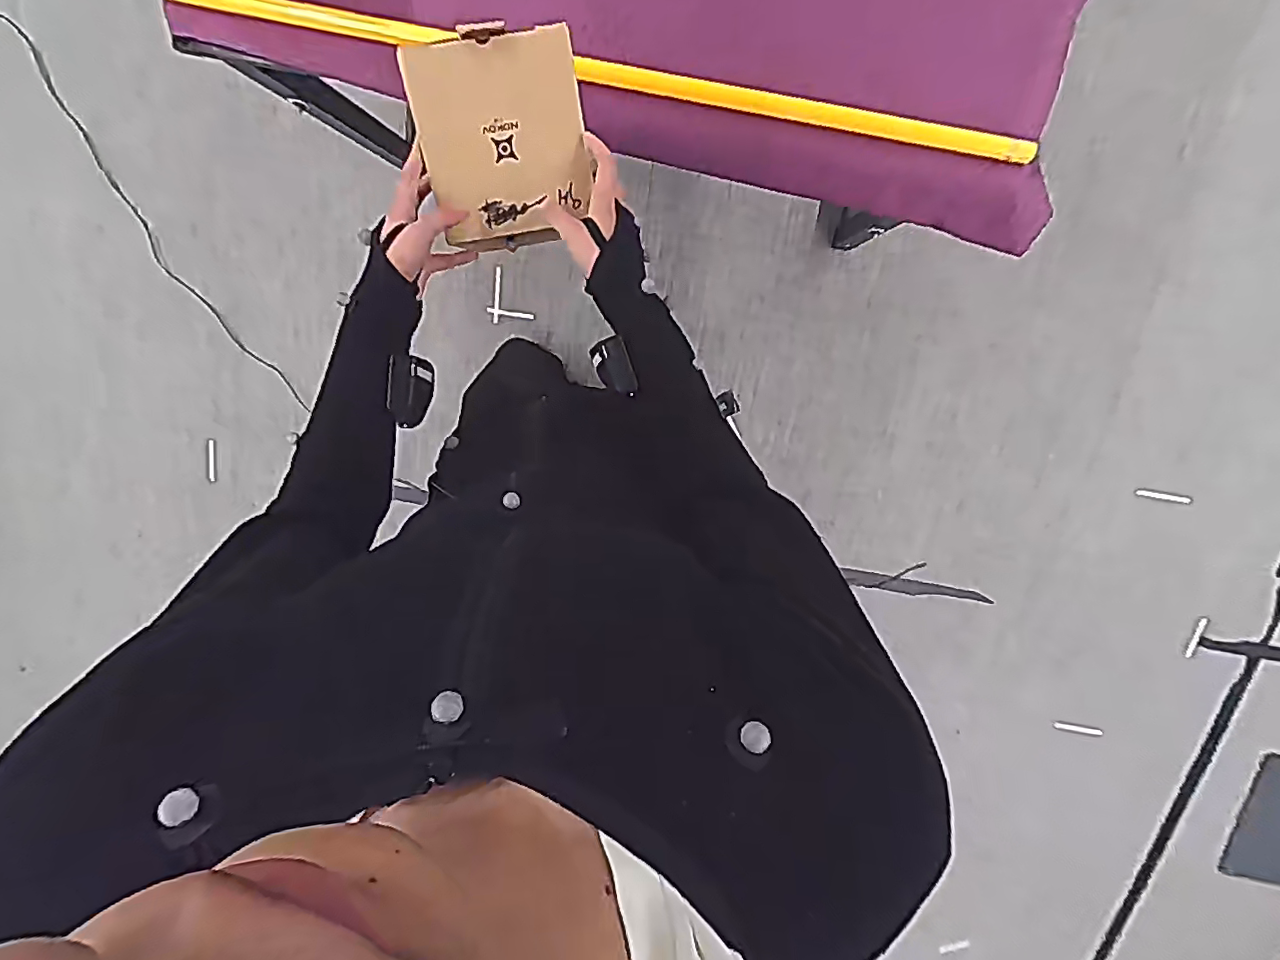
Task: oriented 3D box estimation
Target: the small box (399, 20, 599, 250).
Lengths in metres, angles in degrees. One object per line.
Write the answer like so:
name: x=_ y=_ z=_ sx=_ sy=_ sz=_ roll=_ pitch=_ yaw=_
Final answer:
small box: x=-0.142 y=-0.366 z=0.607 sx=0.168 sy=0.176 sz=0.179 roll=-9 pitch=111 yaw=-2
